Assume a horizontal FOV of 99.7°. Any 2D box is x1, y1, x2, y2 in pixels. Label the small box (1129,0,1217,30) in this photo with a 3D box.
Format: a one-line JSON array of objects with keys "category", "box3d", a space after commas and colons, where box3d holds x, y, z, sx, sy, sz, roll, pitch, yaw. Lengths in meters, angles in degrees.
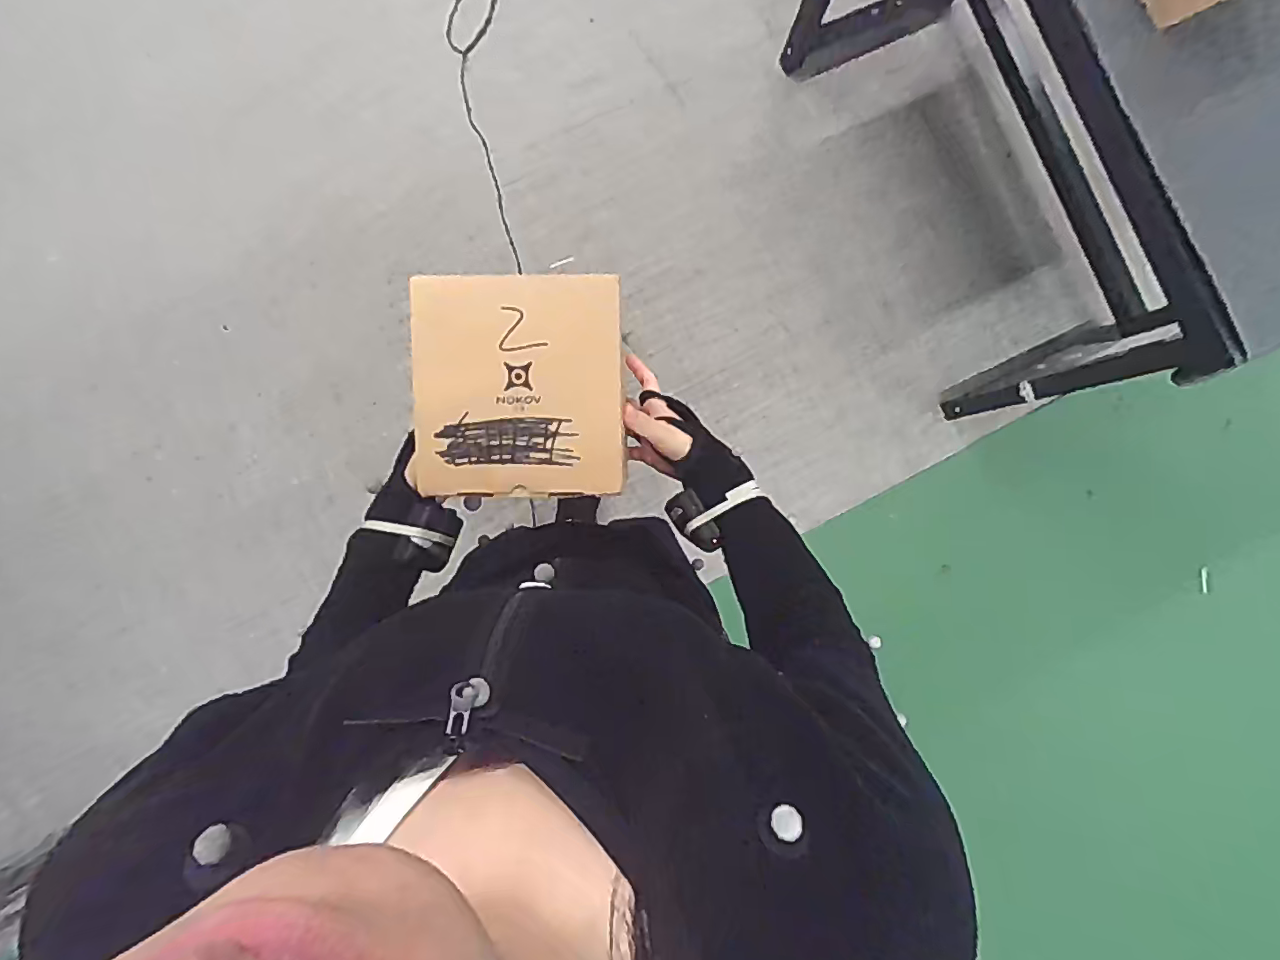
[{"category": "small box", "box3d": [0.863, -0.832, 0.800, 0.179, 0.176, 0.168, -27, 90, -5]}]
